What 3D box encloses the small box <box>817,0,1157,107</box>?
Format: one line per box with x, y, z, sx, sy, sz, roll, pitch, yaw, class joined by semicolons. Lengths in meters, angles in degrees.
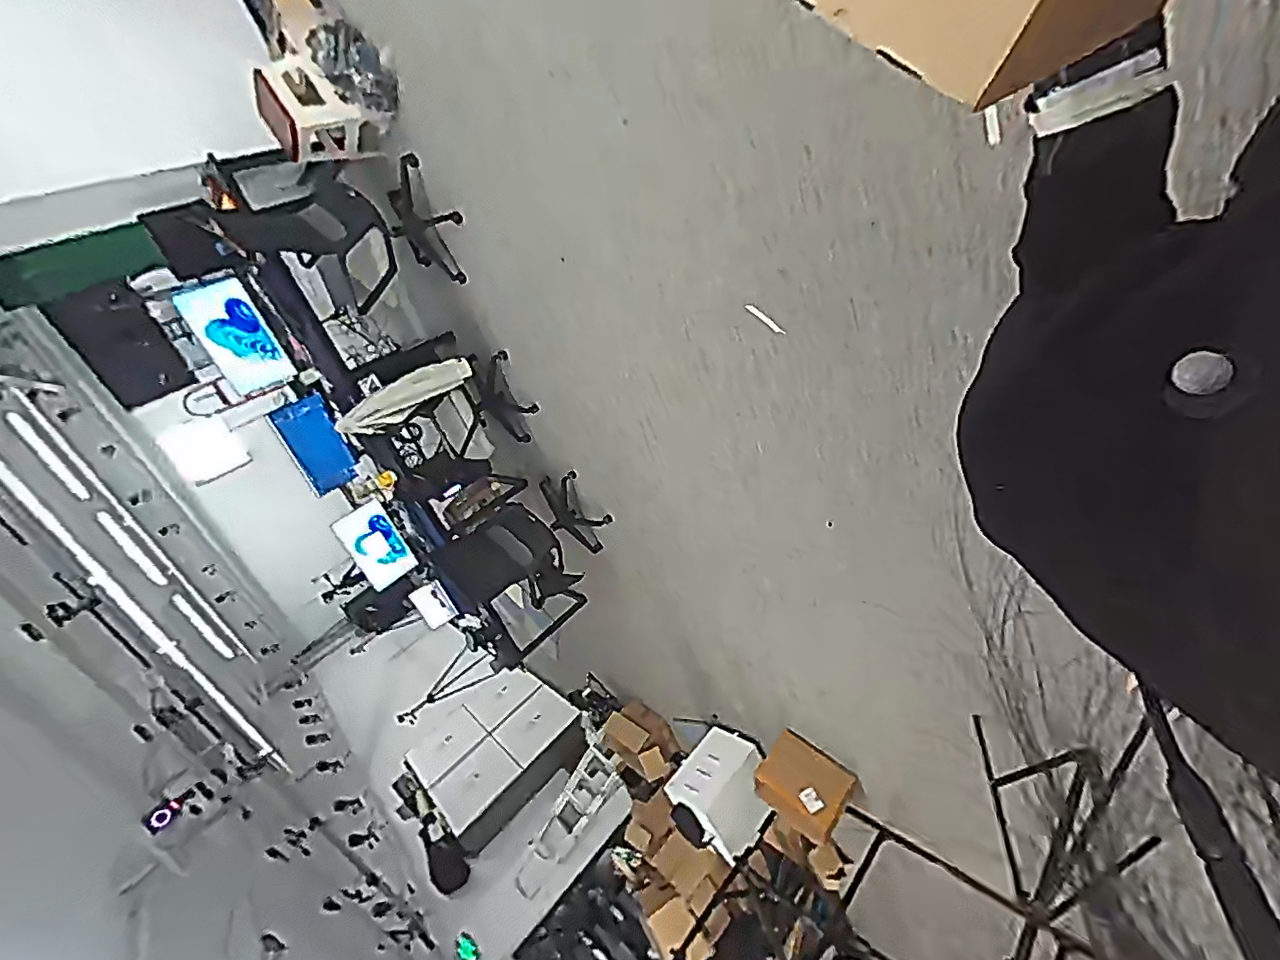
0.172;-0.305;0.212;0.168;0.176;0.179;51;163;17;small box

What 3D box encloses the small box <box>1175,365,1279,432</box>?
0.825;-0.044;0.698;0.168;0.176;0.179;1;123;54;small box

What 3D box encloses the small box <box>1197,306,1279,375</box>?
0.927;-0.142;0.778;0.179;0.176;0.168;19;136;44;small box
